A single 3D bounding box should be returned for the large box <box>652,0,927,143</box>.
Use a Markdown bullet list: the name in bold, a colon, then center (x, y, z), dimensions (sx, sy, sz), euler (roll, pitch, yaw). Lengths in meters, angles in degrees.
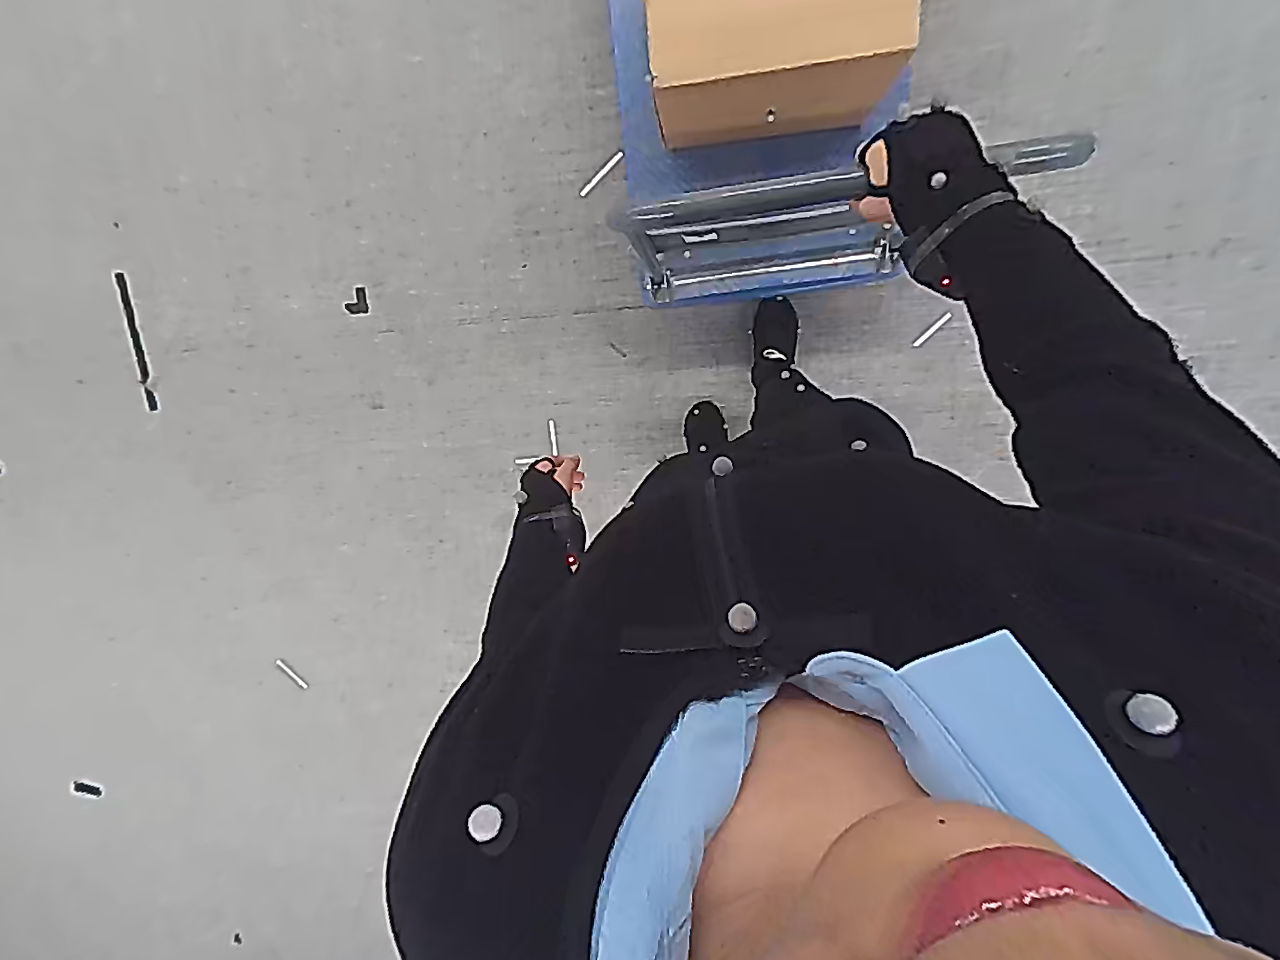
- **large box**: center (0.234, -0.826, 0.930), dimensions (0.408, 0.320, 0.320), euler (-3, 104, 10)
